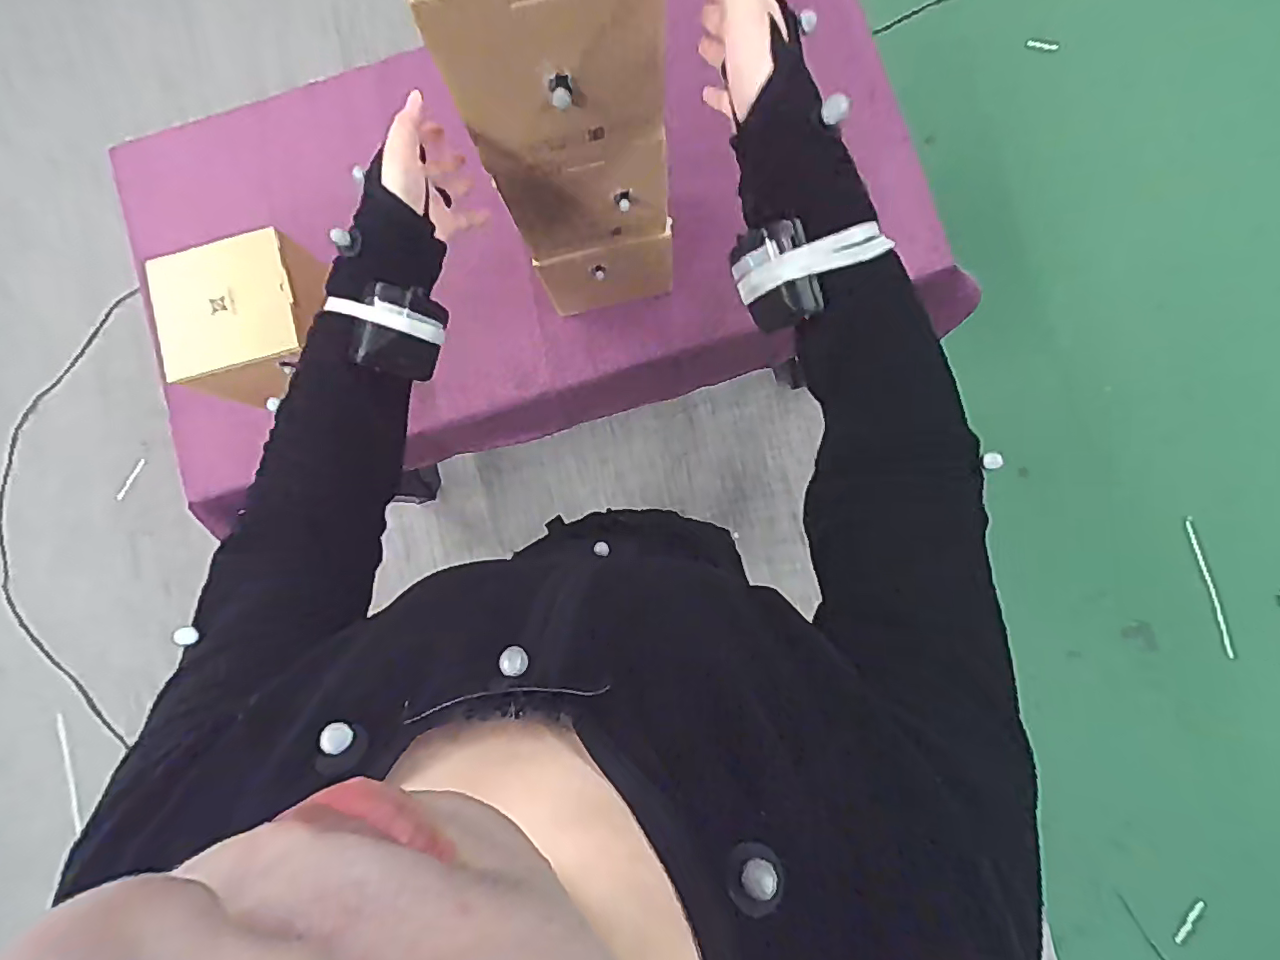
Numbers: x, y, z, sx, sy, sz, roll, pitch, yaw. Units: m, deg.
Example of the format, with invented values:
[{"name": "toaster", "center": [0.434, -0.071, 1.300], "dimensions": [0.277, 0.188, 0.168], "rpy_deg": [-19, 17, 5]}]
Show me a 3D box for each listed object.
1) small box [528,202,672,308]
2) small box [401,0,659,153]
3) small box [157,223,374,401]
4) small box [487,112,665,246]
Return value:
[{"name": "small box", "center": [-0.055, -0.354, 0.742], "dimensions": [0.179, 0.176, 0.168], "rpy_deg": [-10, 86, 3]}, {"name": "small box", "center": [-0.080, -0.388, 0.417], "dimensions": [0.168, 0.176, 0.179], "rpy_deg": [-11, 85, 2]}, {"name": "small box", "center": [-0.514, -0.222, 0.762], "dimensions": [0.179, 0.176, 0.168], "rpy_deg": [-15, 85, 2]}, {"name": "small box", "center": [-0.067, -0.375, 0.581], "dimensions": [0.168, 0.176, 0.179], "rpy_deg": [-11, 84, 2]}]
